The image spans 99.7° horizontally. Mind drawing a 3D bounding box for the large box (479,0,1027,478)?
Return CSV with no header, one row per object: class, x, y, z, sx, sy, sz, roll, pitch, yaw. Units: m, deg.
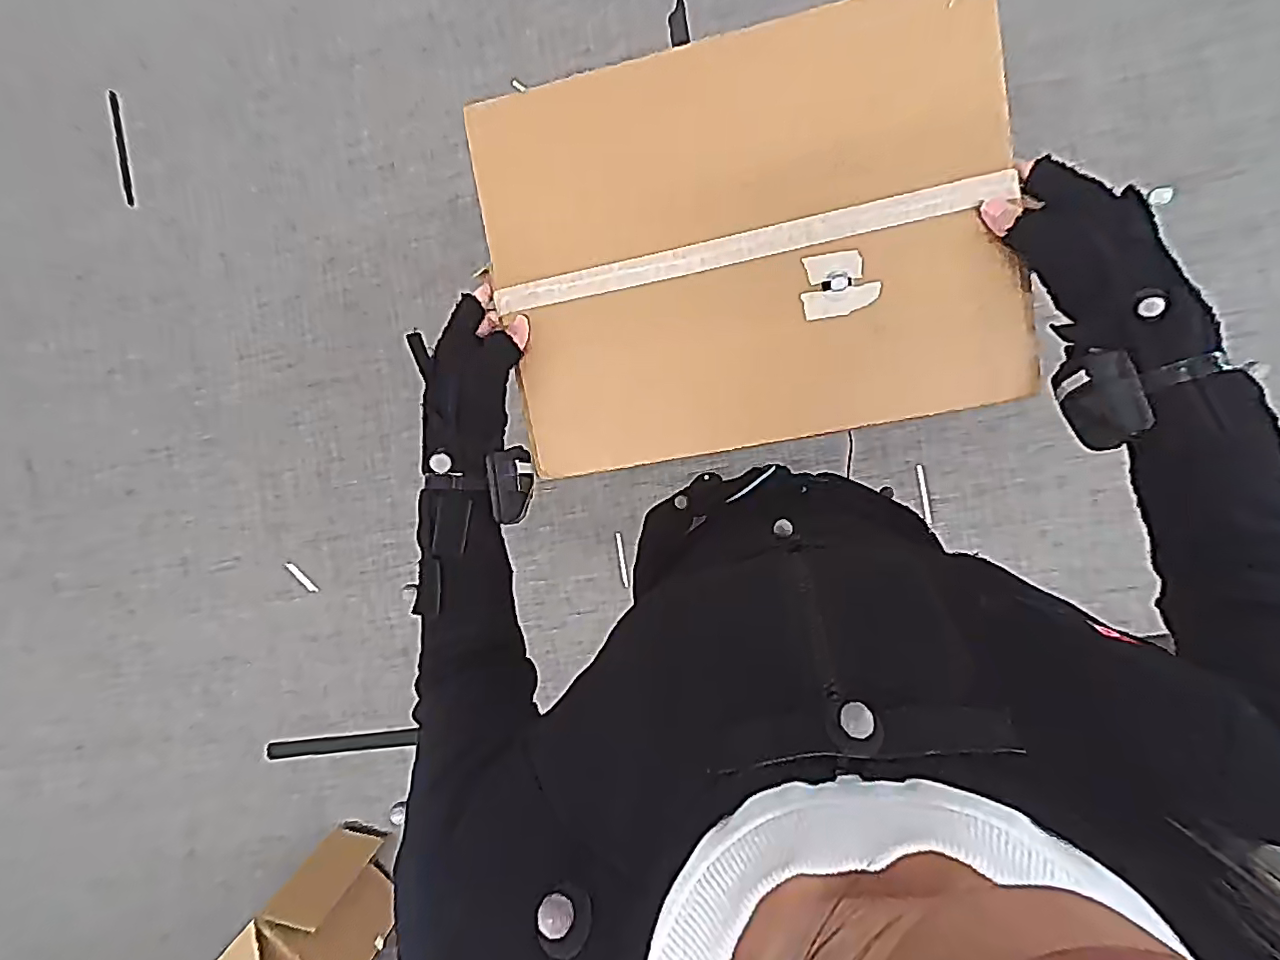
large box,0.100,-0.202,0.587,0.408,0.320,0.320,-10,96,8
